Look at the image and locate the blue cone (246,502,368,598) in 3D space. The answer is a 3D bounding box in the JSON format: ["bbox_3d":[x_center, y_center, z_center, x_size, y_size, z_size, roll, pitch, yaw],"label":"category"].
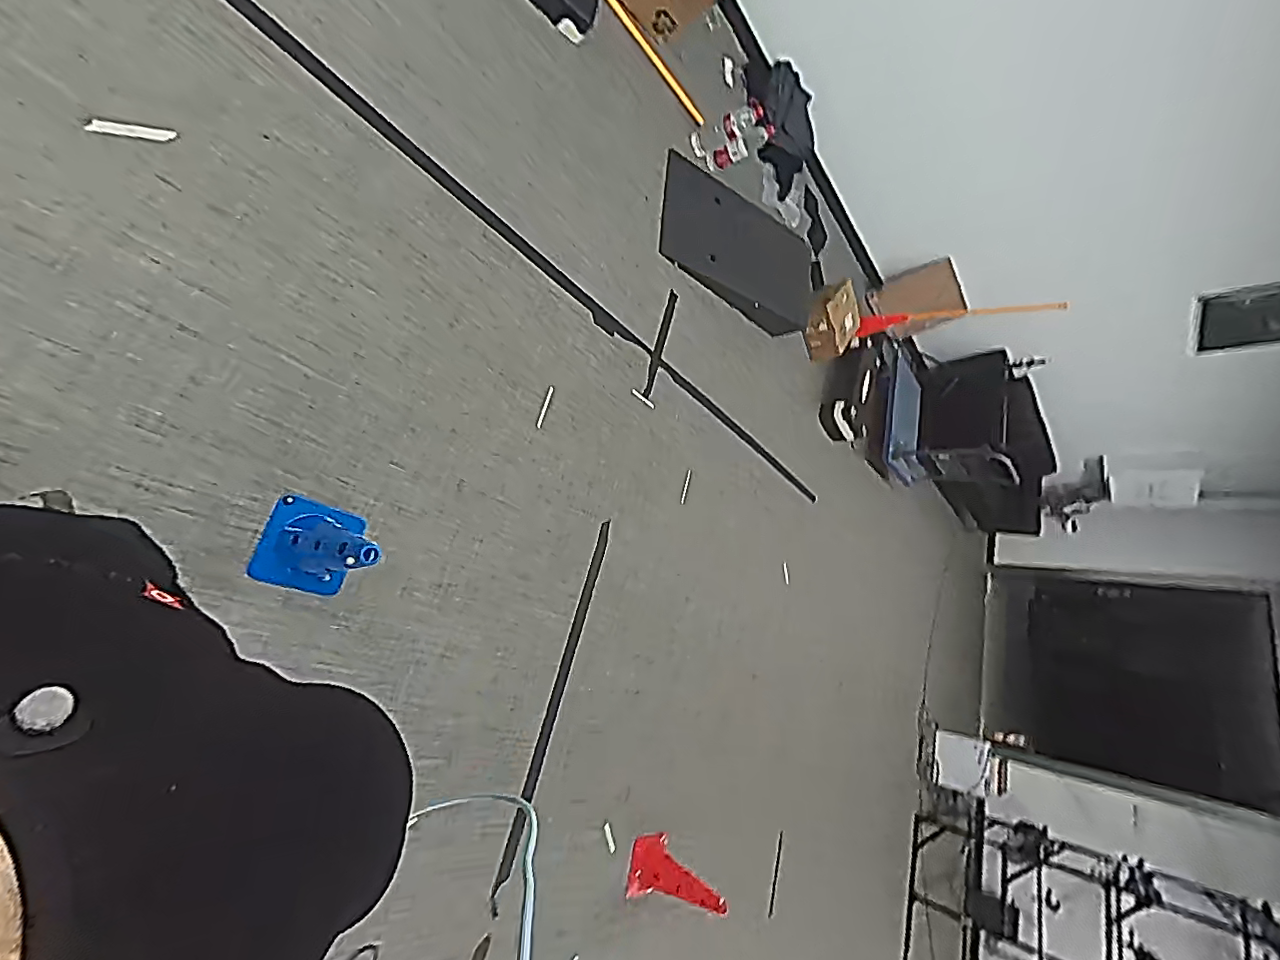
[{"bbox_3d":[-0.646,0.157,1.125,0.192,0.380,0.193,33,65,-41],"label":"blue cone"}]

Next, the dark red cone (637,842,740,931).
[{"bbox_3d":[0.184,1.483,1.933,0.201,0.394,0.202,22,72,-44],"label":"dark red cone"}]
